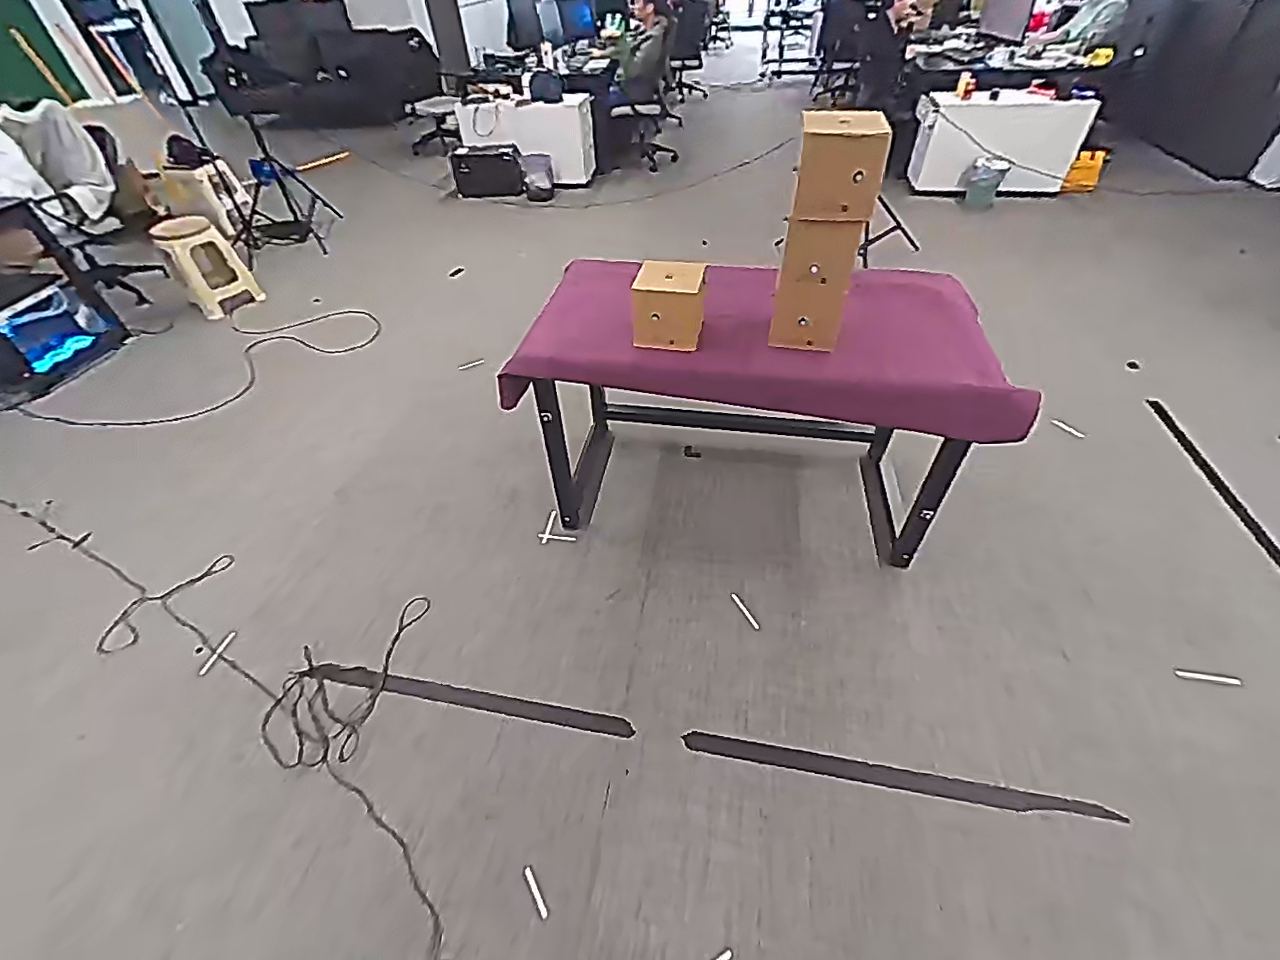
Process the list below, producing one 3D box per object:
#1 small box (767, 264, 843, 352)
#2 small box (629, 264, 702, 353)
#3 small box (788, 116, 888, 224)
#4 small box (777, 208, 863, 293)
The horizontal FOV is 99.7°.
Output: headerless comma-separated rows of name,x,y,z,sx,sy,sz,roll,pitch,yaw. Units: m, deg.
small box,0.428,-0.453,1.414,0.168,0.176,0.179,8,46,10
small box,0.072,-0.454,1.433,0.168,0.176,0.179,7,44,9
small box,0.418,-0.670,1.170,0.168,0.176,0.179,6,45,8
small box,0.426,-0.571,1.300,0.168,0.176,0.179,7,46,10
